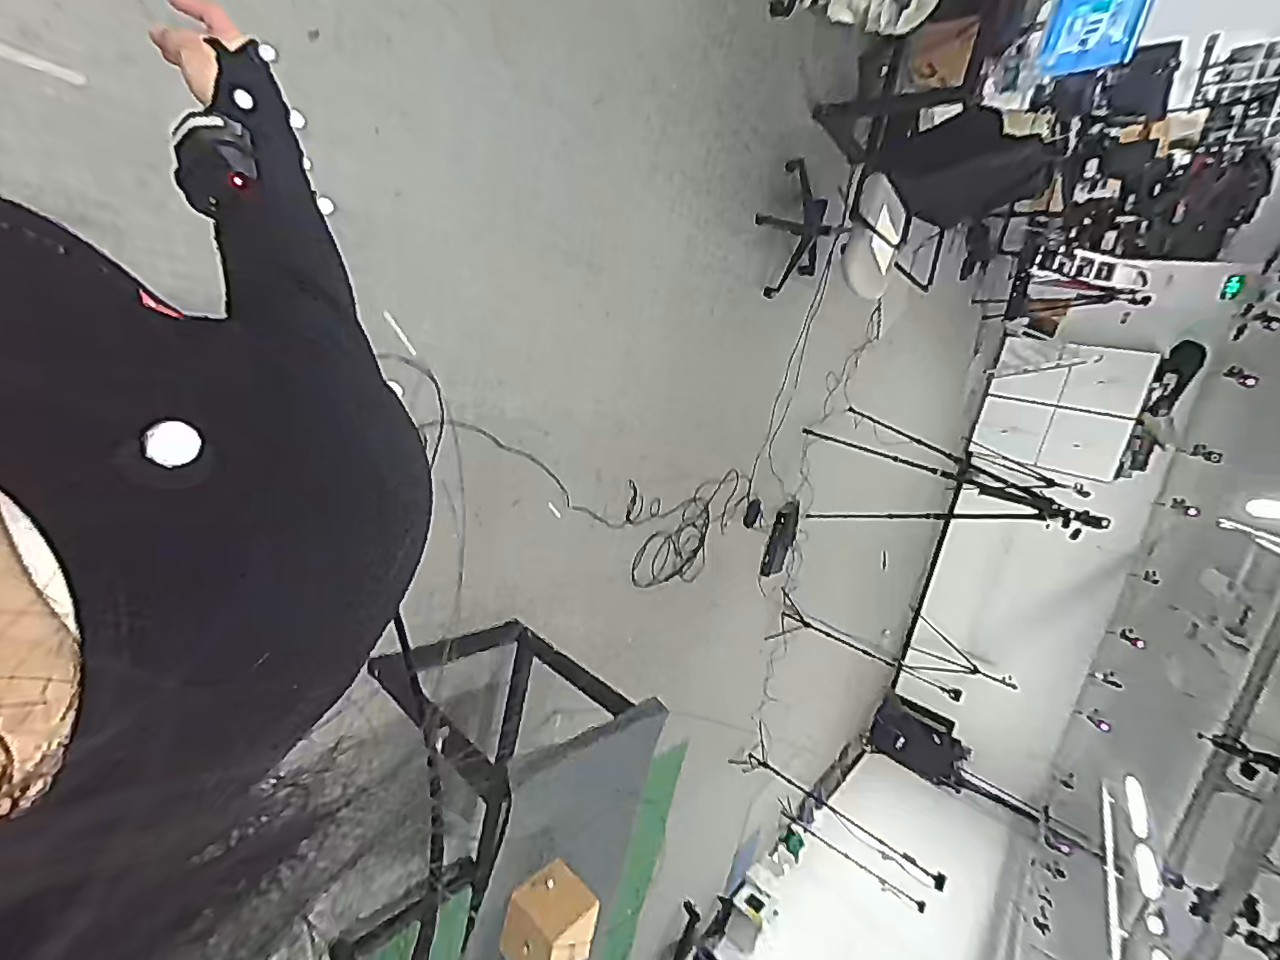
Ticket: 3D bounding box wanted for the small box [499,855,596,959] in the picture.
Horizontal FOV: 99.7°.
[{"bbox_3d":[-0.242,1.129,1.393,0.168,0.176,0.179,1,105,-52],"label":"small box"}]
